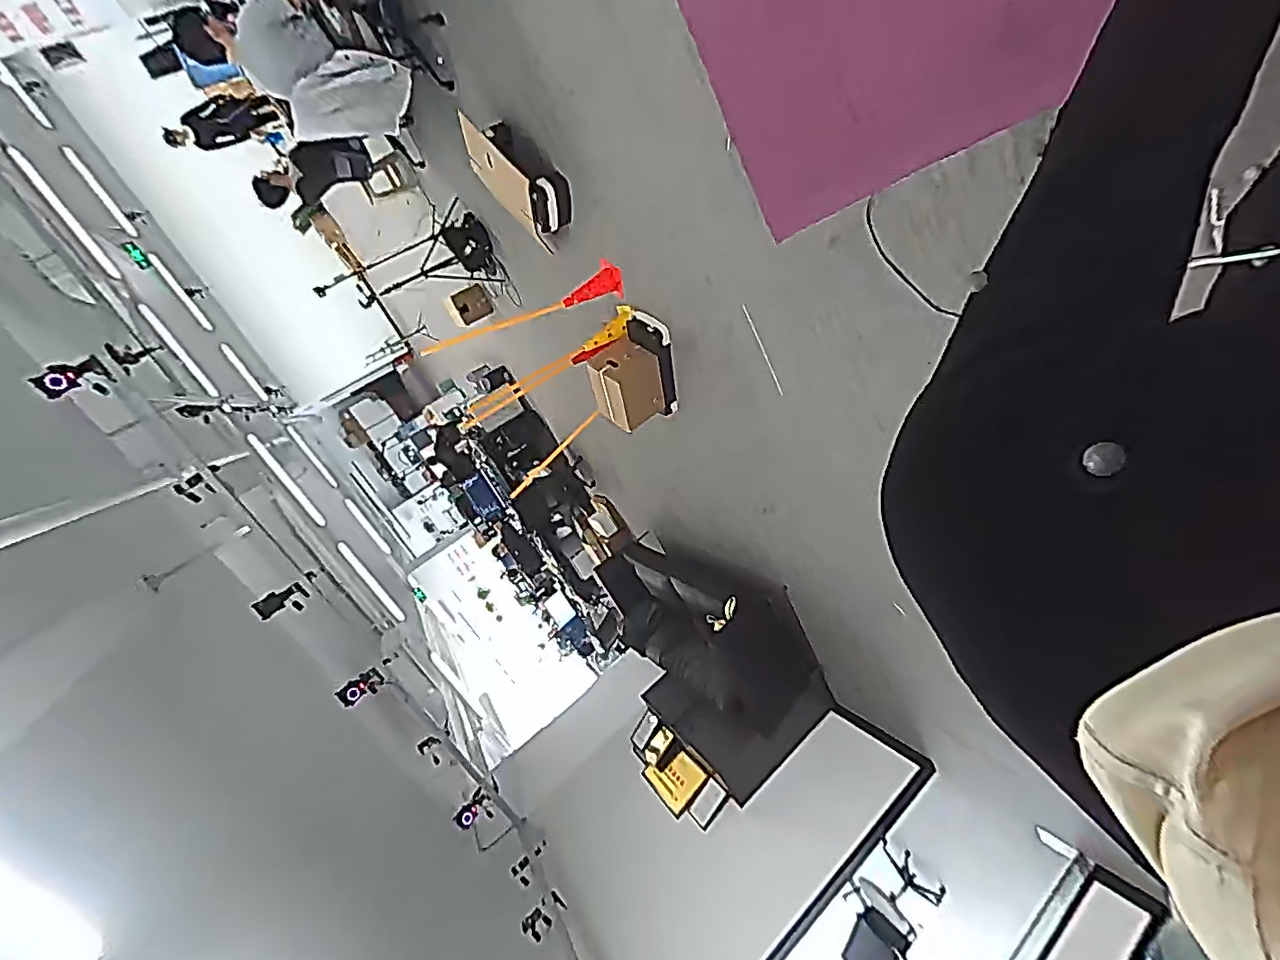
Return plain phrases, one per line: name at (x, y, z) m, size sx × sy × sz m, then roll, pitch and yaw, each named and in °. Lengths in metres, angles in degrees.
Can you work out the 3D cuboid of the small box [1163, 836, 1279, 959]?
small box at (1.404, 1.009, 1.295) m, size 0.179 × 0.176 × 0.168 m, roll 60°, pitch 161°, yaw -20°
